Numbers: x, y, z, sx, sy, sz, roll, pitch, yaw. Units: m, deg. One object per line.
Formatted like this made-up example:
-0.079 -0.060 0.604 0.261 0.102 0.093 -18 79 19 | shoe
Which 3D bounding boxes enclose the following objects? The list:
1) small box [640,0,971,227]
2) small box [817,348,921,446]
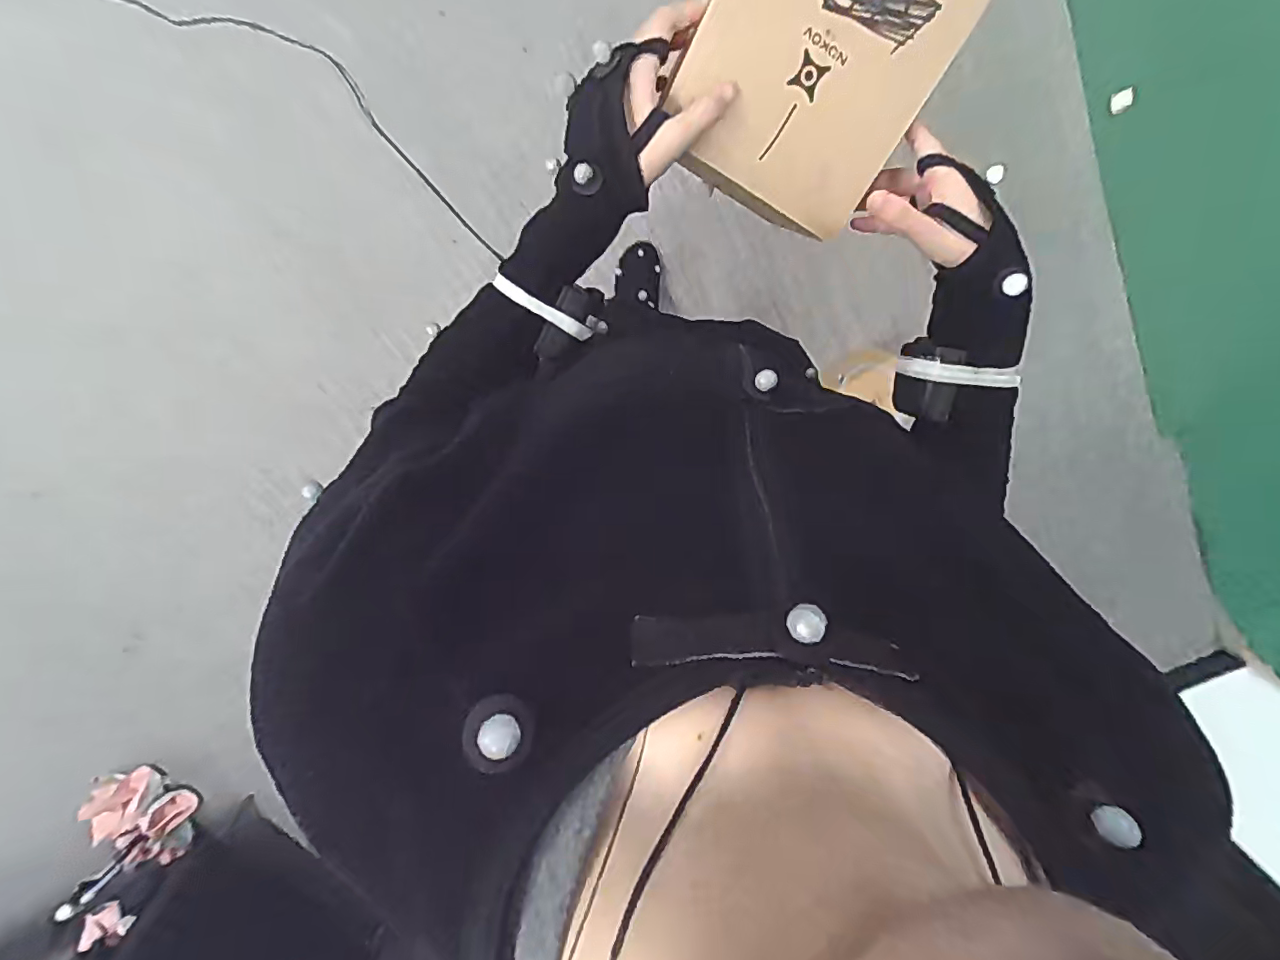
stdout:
0.109 -0.335 0.433 0.168 0.176 0.179 23 116 -17 | small box
0.576 -0.218 1.393 0.179 0.176 0.168 -30 110 10 | small box
